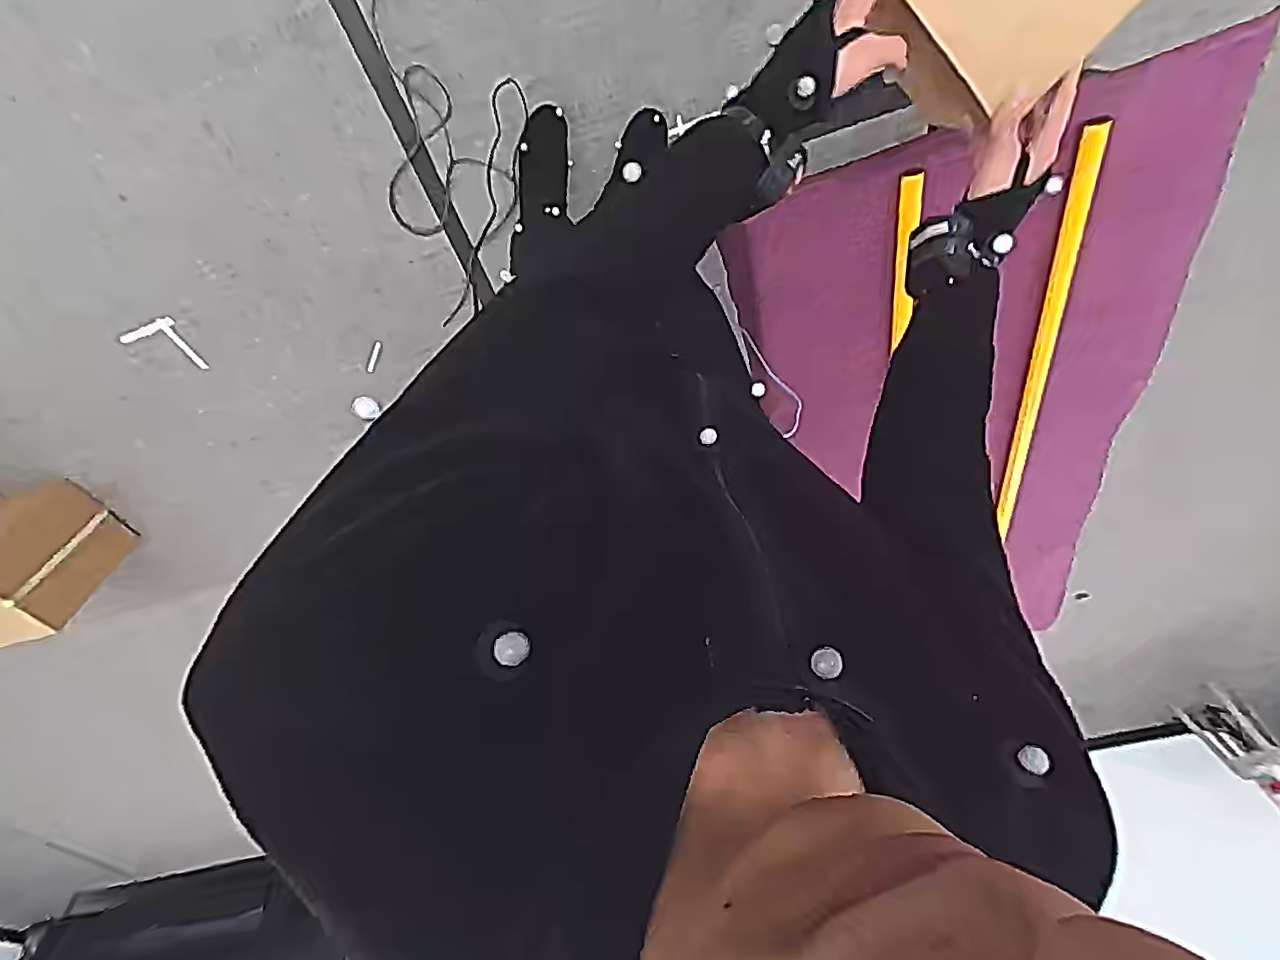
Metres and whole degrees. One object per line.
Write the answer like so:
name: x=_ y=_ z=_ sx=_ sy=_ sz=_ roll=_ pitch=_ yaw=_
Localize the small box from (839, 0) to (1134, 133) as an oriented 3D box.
small box: x=0.316 y=-0.462 z=0.493 sx=0.179 sy=0.176 sz=0.168 roll=32 pitch=121 yaw=-21
